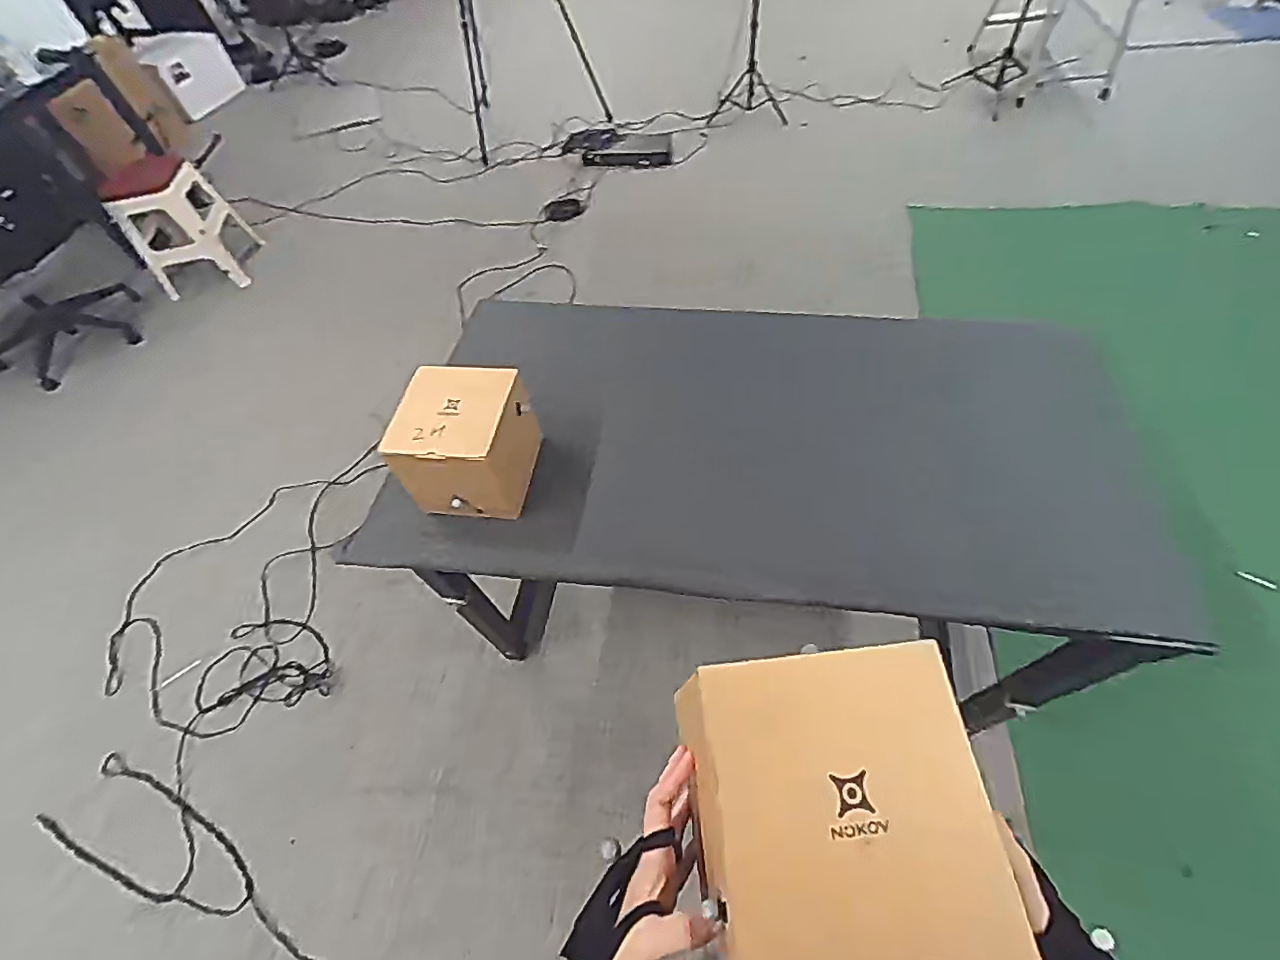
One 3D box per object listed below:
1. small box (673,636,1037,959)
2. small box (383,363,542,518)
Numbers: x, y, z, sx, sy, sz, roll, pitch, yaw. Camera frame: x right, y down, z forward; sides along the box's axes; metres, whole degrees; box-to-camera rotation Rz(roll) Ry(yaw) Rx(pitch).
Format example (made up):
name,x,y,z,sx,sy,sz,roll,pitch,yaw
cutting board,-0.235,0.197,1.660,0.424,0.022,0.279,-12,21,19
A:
name,x,y,z,sx,sy,sz,roll,pitch,yaw
small box,0.122,0.224,0.394,0.168,0.176,0.179,-5,65,-5
small box,-0.264,-0.062,0.859,0.168,0.176,0.179,4,56,9
